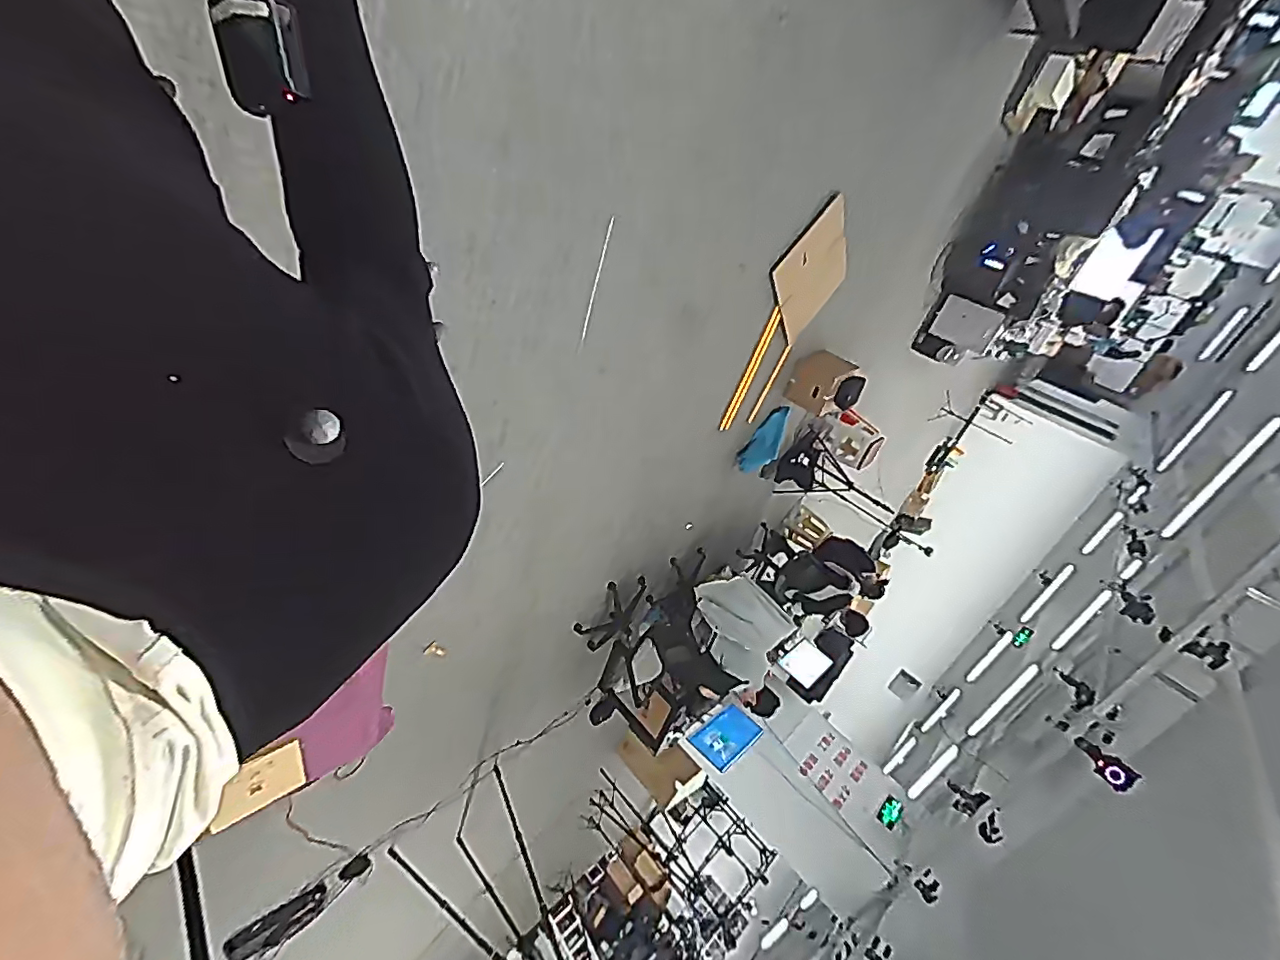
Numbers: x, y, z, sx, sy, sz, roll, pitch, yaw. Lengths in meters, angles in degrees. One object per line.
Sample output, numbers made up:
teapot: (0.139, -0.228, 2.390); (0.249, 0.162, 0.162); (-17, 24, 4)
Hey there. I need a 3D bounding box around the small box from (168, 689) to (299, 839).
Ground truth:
small box: (-0.811, 0.561, 1.086); (0.168, 0.176, 0.179); (-20, 138, -44)
